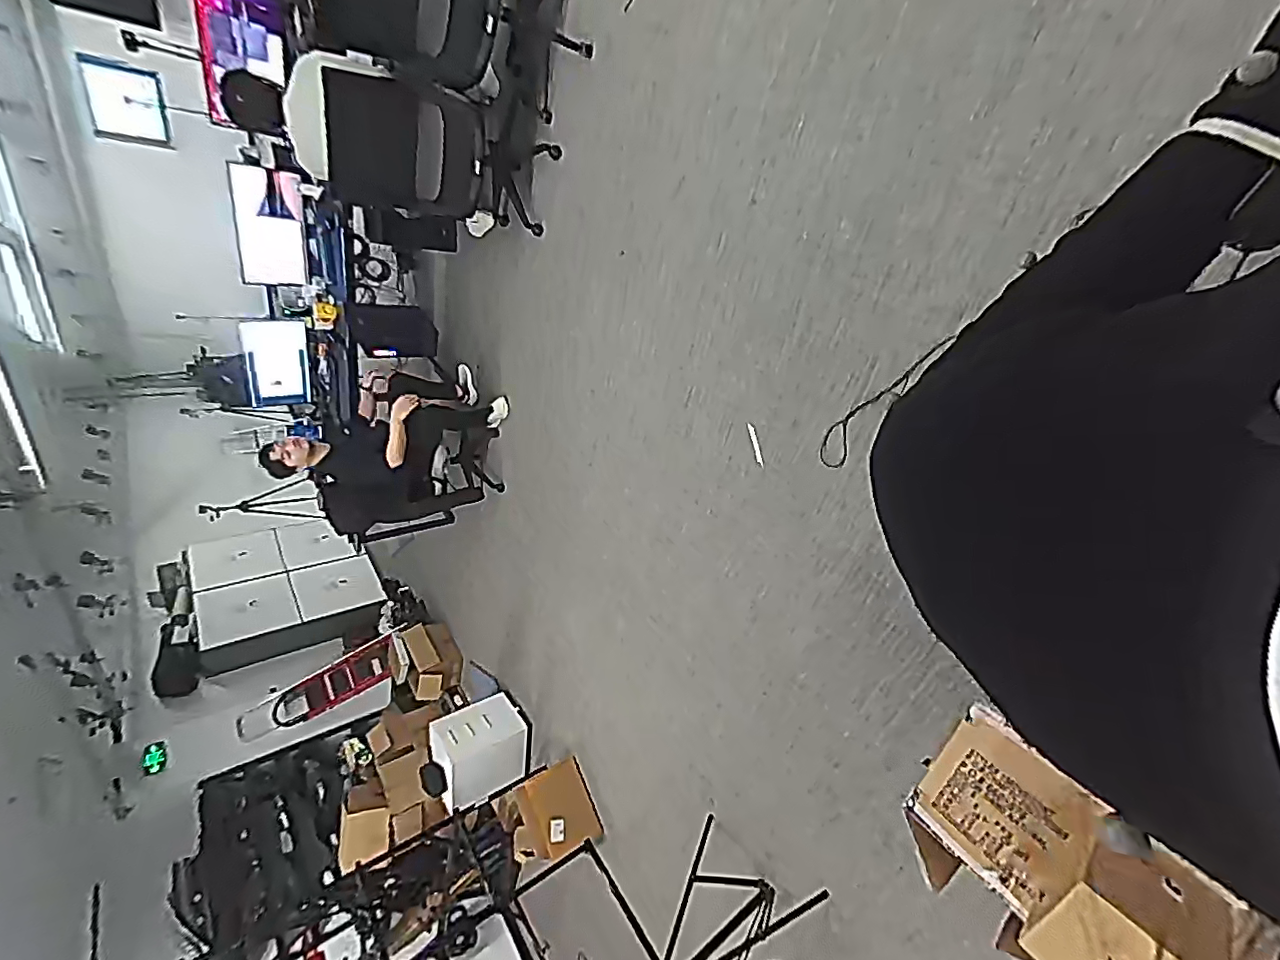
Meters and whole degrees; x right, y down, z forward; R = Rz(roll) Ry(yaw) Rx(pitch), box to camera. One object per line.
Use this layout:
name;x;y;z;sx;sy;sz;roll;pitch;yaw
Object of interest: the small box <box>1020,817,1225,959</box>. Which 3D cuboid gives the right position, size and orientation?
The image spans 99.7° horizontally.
small box;0.720;0.659;0.807;0.168;0.176;0.179;35;121;39
